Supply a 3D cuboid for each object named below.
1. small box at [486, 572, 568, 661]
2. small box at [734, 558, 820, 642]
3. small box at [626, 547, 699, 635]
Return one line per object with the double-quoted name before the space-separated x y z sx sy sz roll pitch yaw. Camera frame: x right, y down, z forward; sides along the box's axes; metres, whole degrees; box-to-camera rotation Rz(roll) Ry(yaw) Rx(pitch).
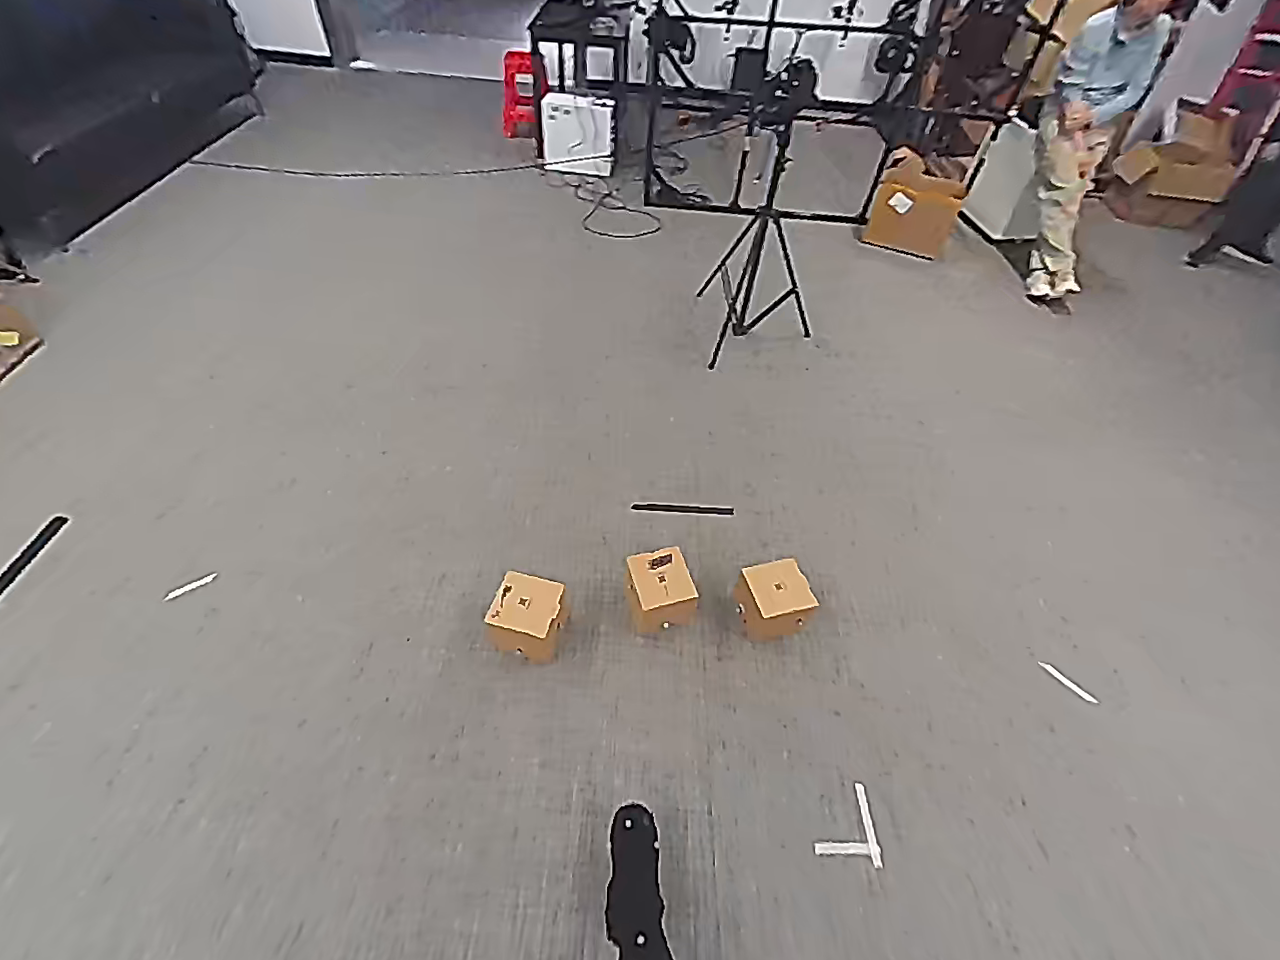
"small box" -0.308 0.389 1.525 0.179 0.176 0.168 13 49 7
"small box" 0.399 0.358 1.608 0.179 0.176 0.168 -11 50 -13
"small box" 0.060 0.330 1.602 0.168 0.176 0.179 -11 52 -14
